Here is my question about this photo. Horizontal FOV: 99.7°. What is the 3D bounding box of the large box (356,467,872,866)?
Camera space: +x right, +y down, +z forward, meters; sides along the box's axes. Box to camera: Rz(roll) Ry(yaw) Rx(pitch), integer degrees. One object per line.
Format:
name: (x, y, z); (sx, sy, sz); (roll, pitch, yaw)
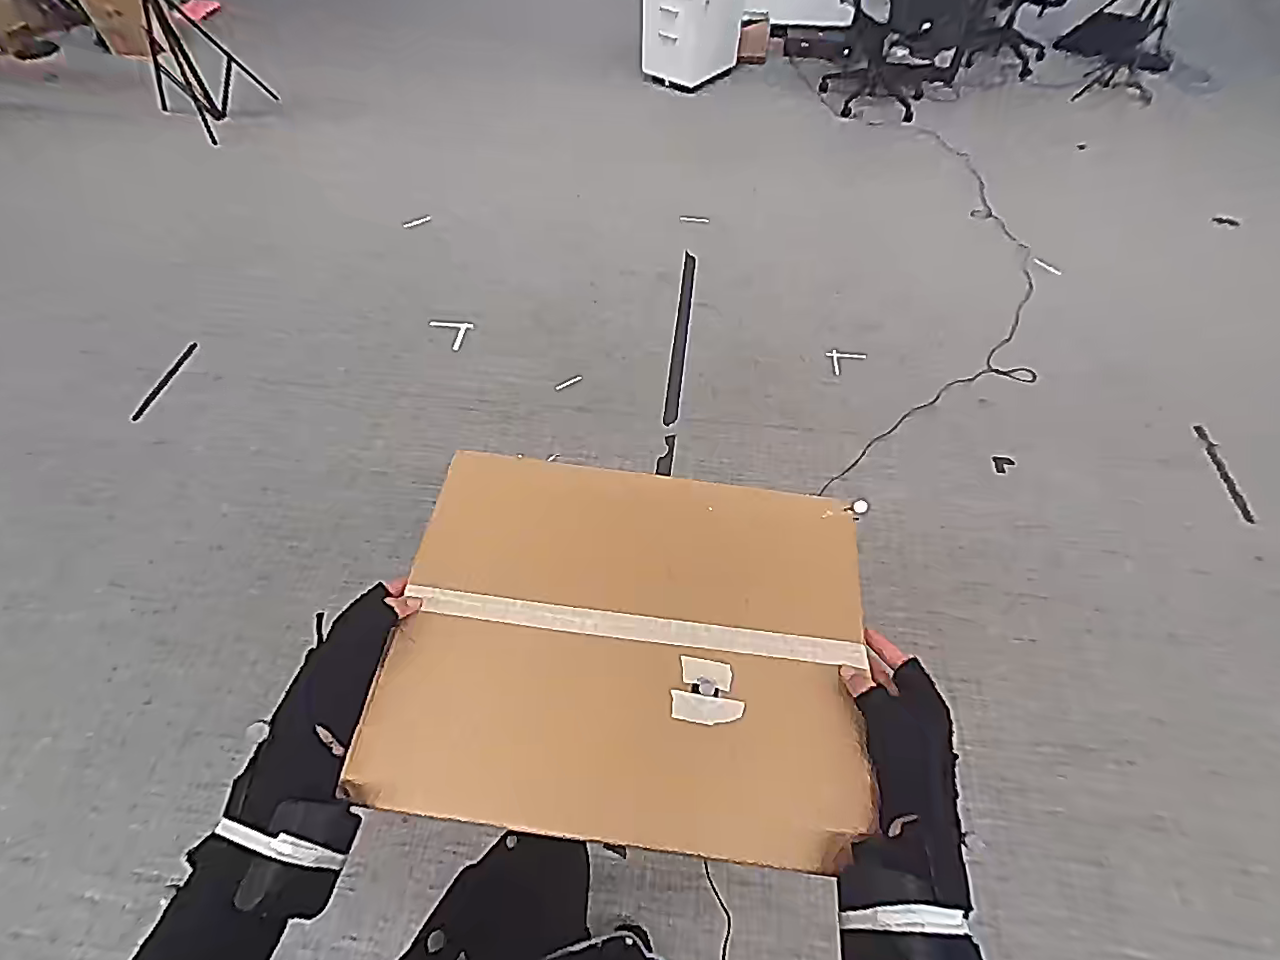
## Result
large box: (-0.015, 0.213, 0.610); (0.408, 0.320, 0.320); (7, 60, 1)
